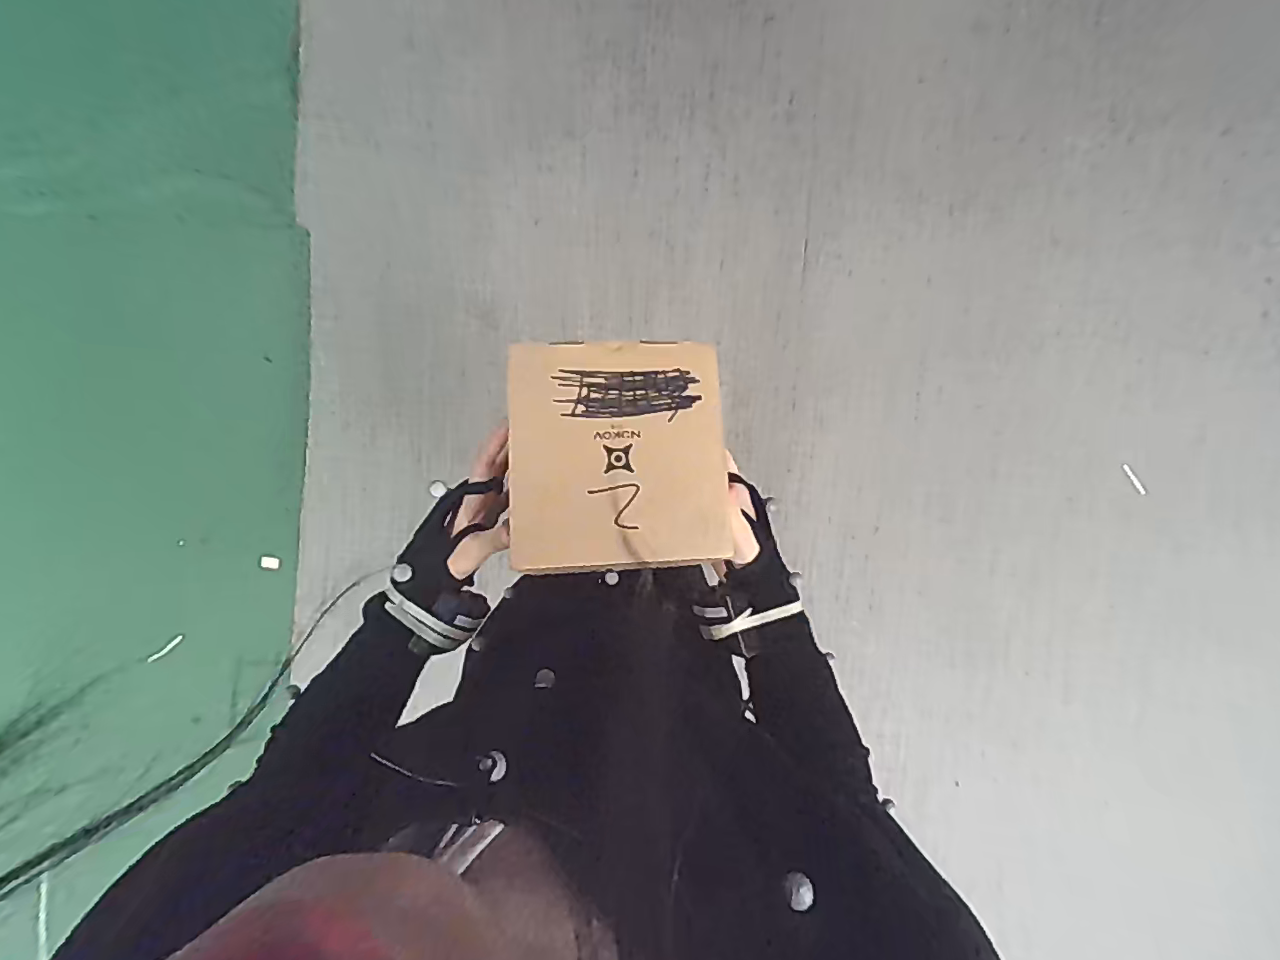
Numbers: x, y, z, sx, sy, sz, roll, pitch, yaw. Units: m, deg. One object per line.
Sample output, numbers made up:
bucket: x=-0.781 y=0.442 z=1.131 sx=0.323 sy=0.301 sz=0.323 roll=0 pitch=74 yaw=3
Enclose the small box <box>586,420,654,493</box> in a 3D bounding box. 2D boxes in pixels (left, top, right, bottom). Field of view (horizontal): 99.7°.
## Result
small box: x=-0.049 y=-0.063 z=1.399 sx=0.168 sy=0.176 sz=0.179 roll=-2 pitch=93 yaw=-1
